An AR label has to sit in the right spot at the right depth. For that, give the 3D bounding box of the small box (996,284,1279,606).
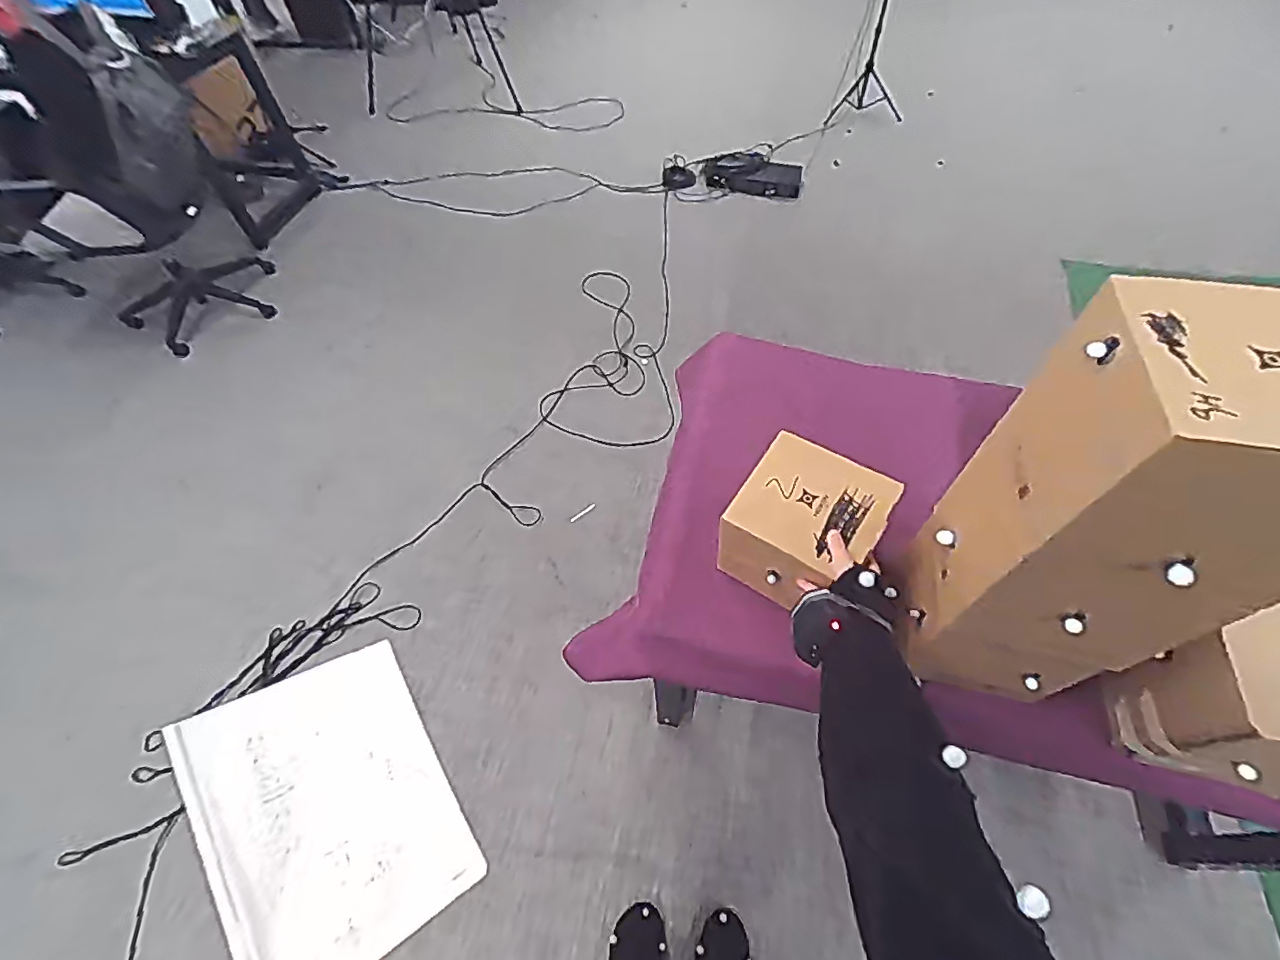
[{"bbox_3d":[0.416,-0.021,0.416,0.179,0.176,0.168,11,54,10],"label":"small box"}]

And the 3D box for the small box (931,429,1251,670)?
[{"bbox_3d":[0.422,0.076,0.548,0.179,0.176,0.168,11,54,11],"label":"small box"}]
